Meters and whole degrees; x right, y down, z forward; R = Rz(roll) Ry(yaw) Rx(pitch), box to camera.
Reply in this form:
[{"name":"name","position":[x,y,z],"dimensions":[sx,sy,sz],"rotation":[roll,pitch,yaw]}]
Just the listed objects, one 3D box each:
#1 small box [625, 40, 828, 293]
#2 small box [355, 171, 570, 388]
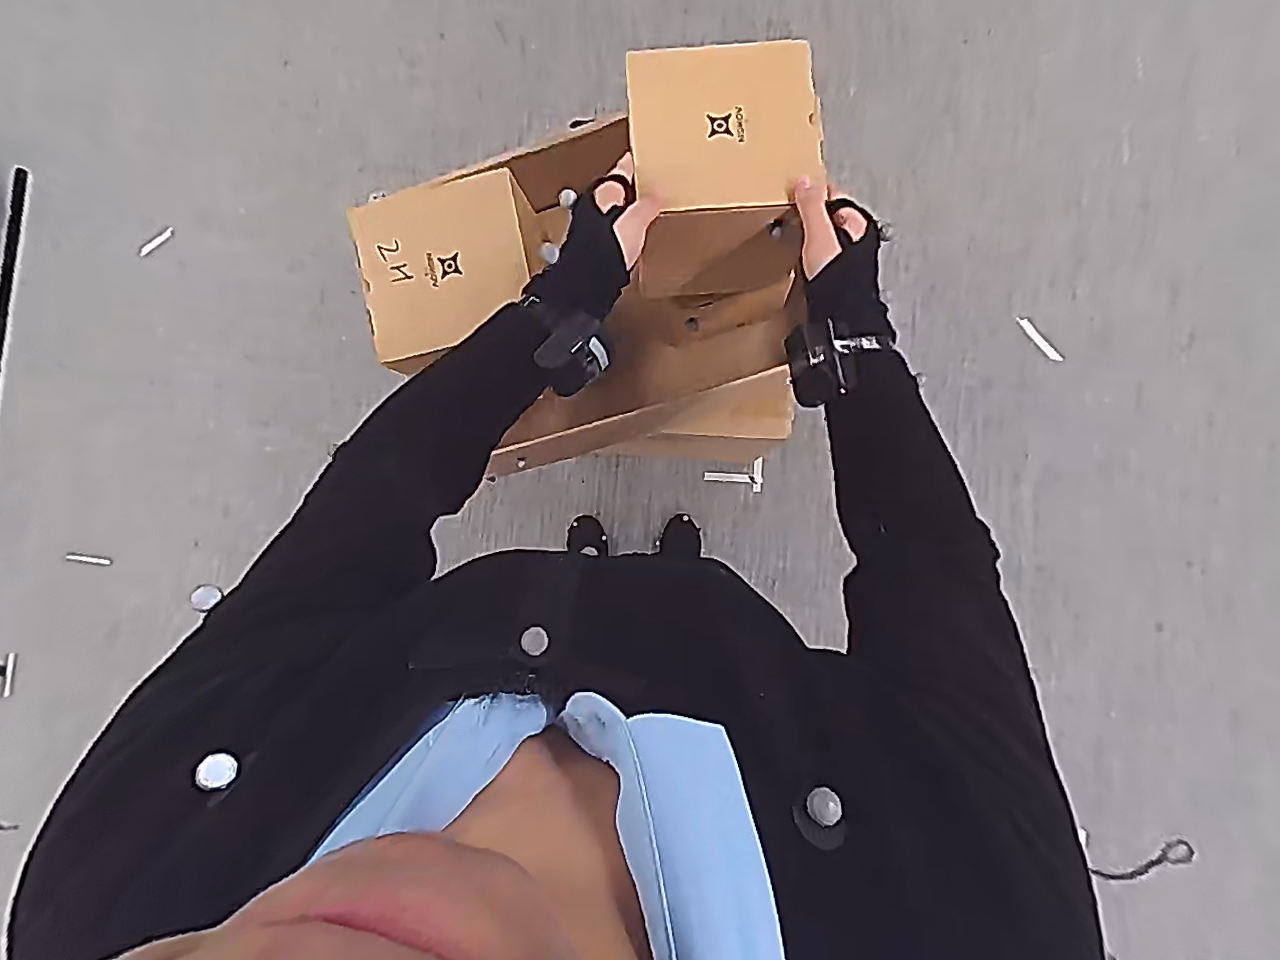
[{"name":"small box","position":[0.077,-0.312,0.569],"dimensions":[0.179,0.176,0.168],"rotation":[-3,82,-1]},{"name":"small box","position":[-0.187,-0.214,0.626],"dimensions":[0.179,0.176,0.168],"rotation":[-11,88,6]}]
